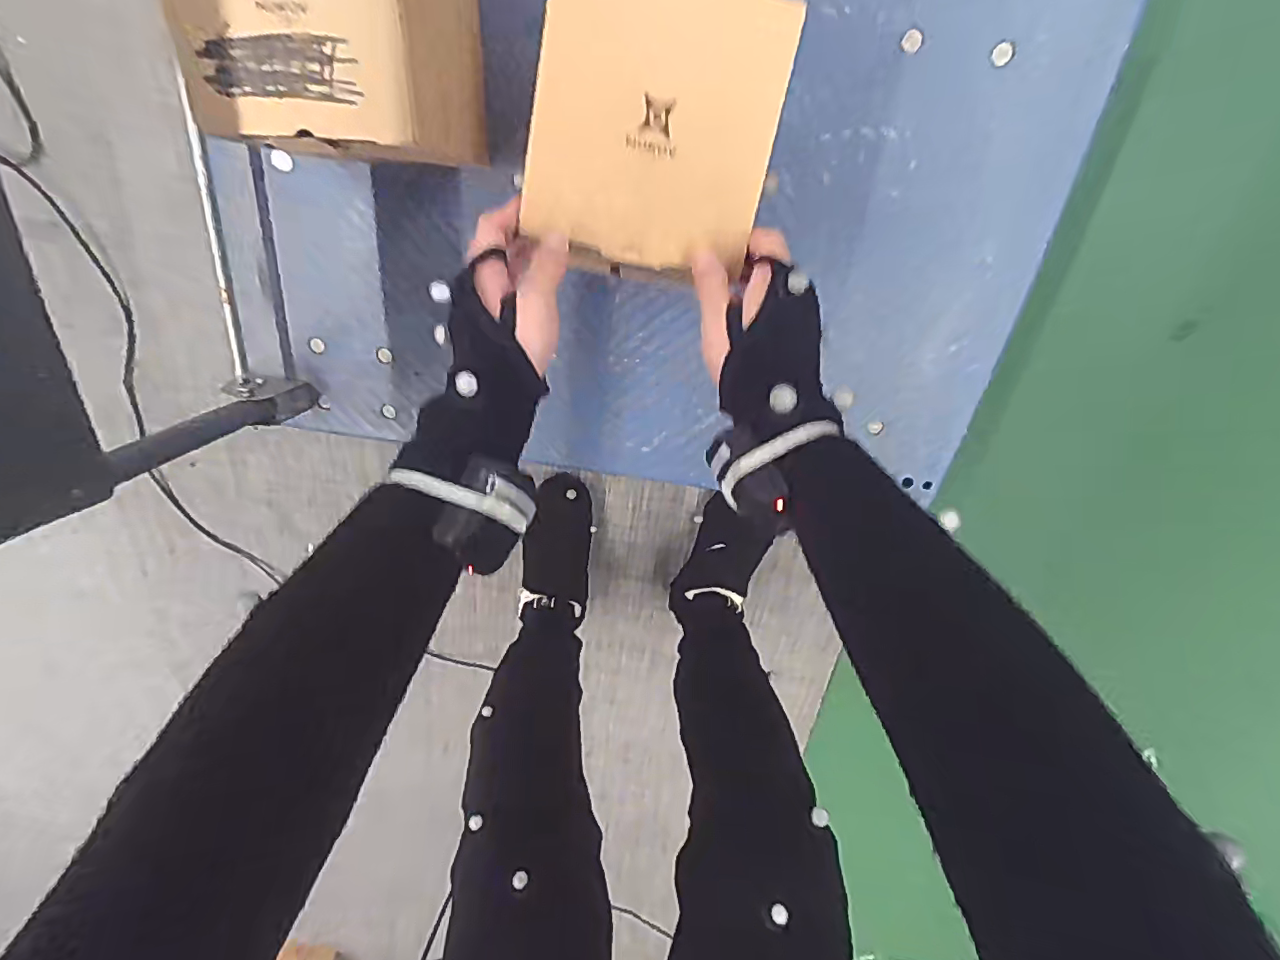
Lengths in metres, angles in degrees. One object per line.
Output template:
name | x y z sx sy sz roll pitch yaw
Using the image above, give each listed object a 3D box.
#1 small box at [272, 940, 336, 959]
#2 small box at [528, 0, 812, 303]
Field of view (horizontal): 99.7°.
small box | -1.017 1.496 1.577 0.168 0.176 0.179 18 114 -7
small box | 0.014 -0.253 0.445 0.168 0.176 0.179 11 106 -4
